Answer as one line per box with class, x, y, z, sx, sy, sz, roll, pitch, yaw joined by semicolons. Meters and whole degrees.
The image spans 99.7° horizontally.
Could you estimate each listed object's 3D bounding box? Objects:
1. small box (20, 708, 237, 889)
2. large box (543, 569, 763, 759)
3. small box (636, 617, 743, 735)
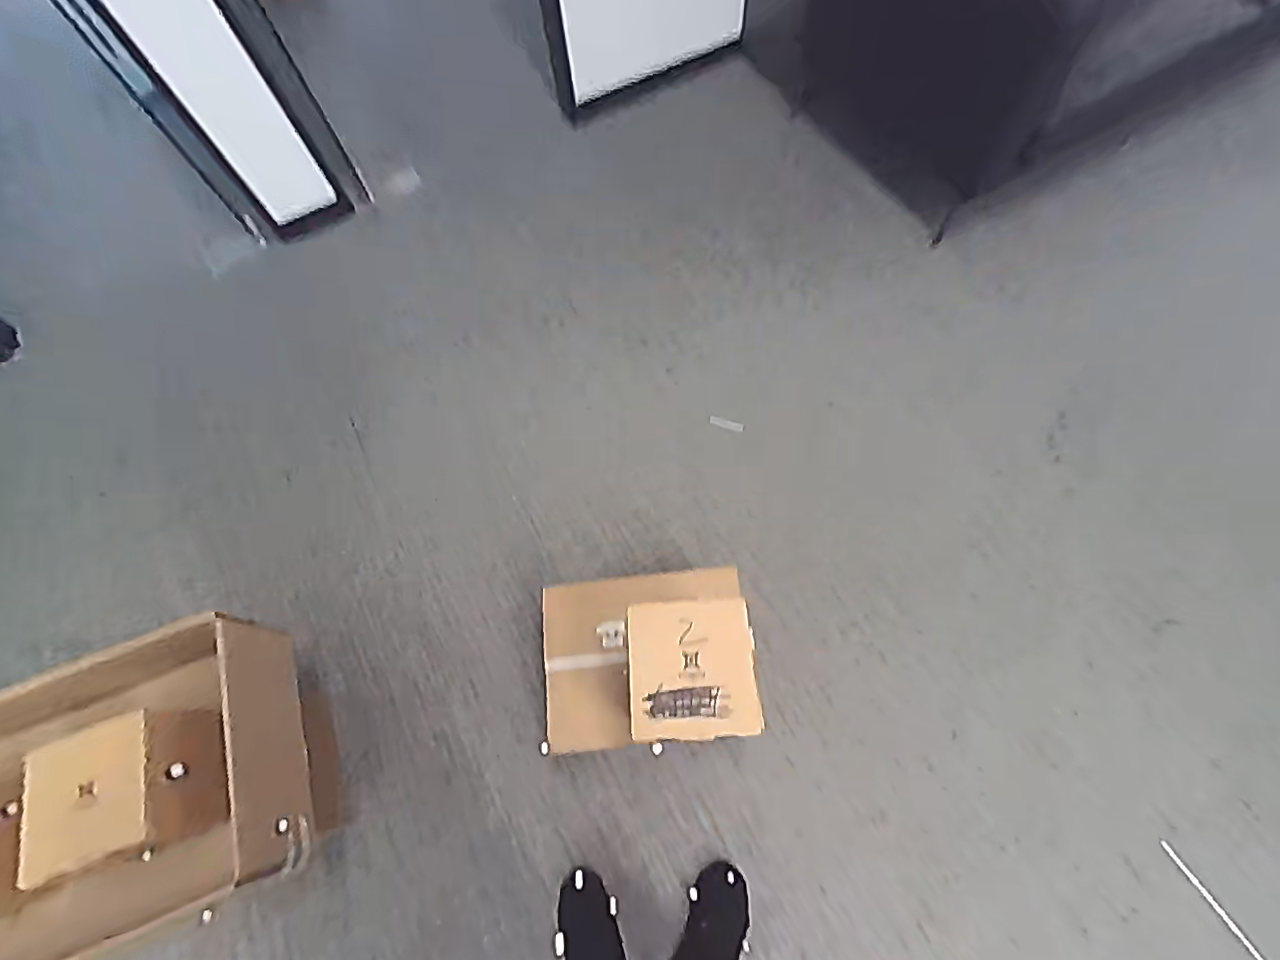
small box;-0.750;0.463;0.812;0.168;0.176;0.179;-21;68;-6
large box;0.024;0.406;1.184;0.408;0.320;0.320;-7;65;1
small box;0.082;0.341;0.941;0.168;0.176;0.179;-3;67;2
